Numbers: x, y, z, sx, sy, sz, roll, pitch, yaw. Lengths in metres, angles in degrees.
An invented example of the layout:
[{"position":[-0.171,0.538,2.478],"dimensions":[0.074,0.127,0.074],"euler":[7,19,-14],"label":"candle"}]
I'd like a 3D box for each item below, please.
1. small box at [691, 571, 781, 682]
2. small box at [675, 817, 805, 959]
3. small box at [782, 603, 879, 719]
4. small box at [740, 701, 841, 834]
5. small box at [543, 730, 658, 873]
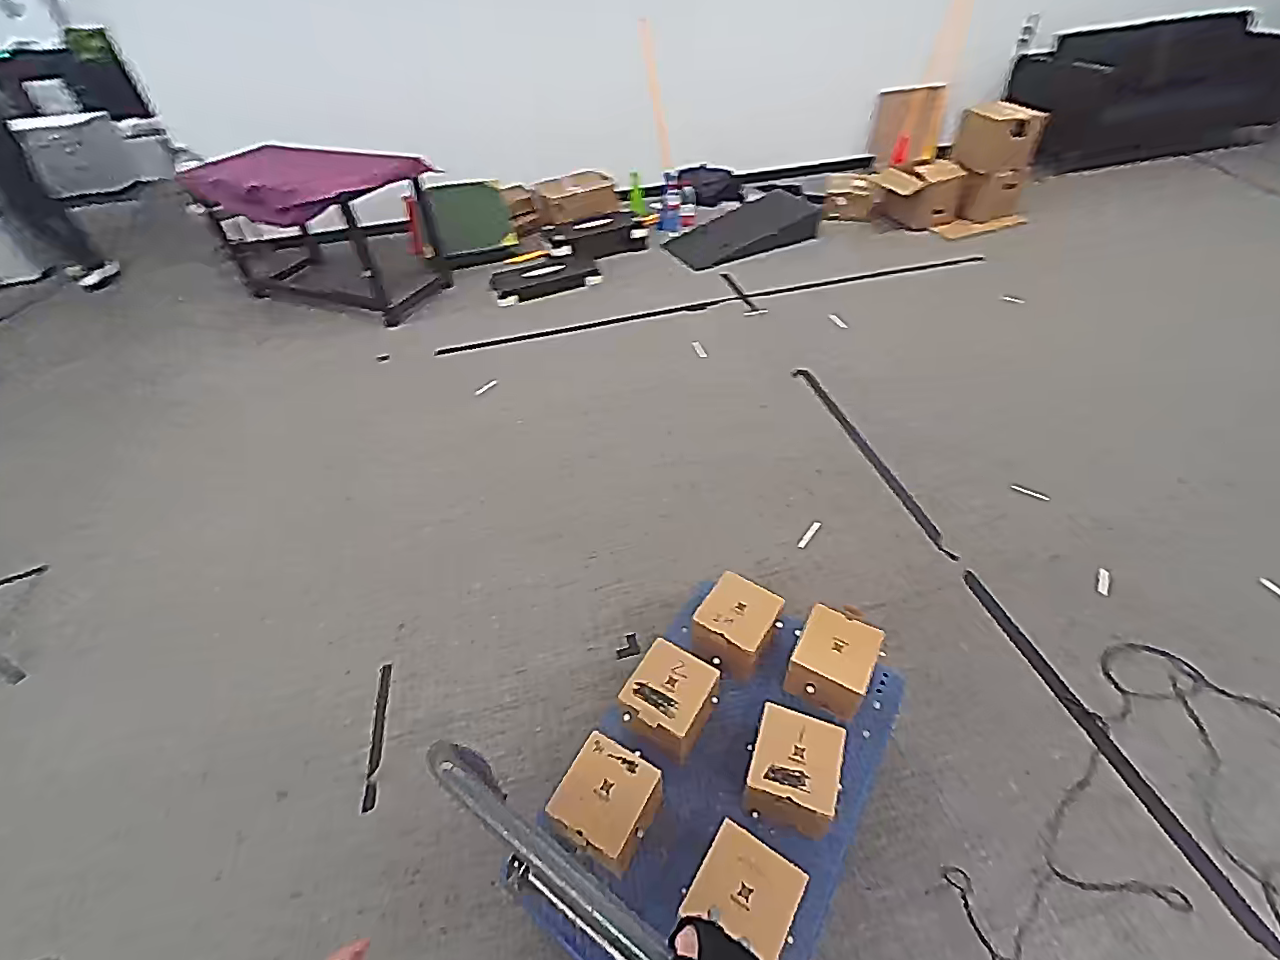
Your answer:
[{"position":[0.237,0.373,1.376],"dimensions":[0.168,0.176,0.179],"euler":[25,52,26],"label":"small box"},{"position":[0.179,0.769,0.986],"dimensions":[0.168,0.176,0.179],"euler":[25,51,25],"label":"small box"},{"position":[0.450,0.438,1.301],"dimensions":[0.168,0.176,0.179],"euler":[21,50,23],"label":"small box"},{"position":[0.312,0.607,1.138],"dimensions":[0.168,0.176,0.179],"euler":[14,47,17],"label":"small box"},{"position":[-0.071,0.661,1.108],"dimensions":[0.168,0.176,0.179],"euler":[22,50,22],"label":"small box"}]
